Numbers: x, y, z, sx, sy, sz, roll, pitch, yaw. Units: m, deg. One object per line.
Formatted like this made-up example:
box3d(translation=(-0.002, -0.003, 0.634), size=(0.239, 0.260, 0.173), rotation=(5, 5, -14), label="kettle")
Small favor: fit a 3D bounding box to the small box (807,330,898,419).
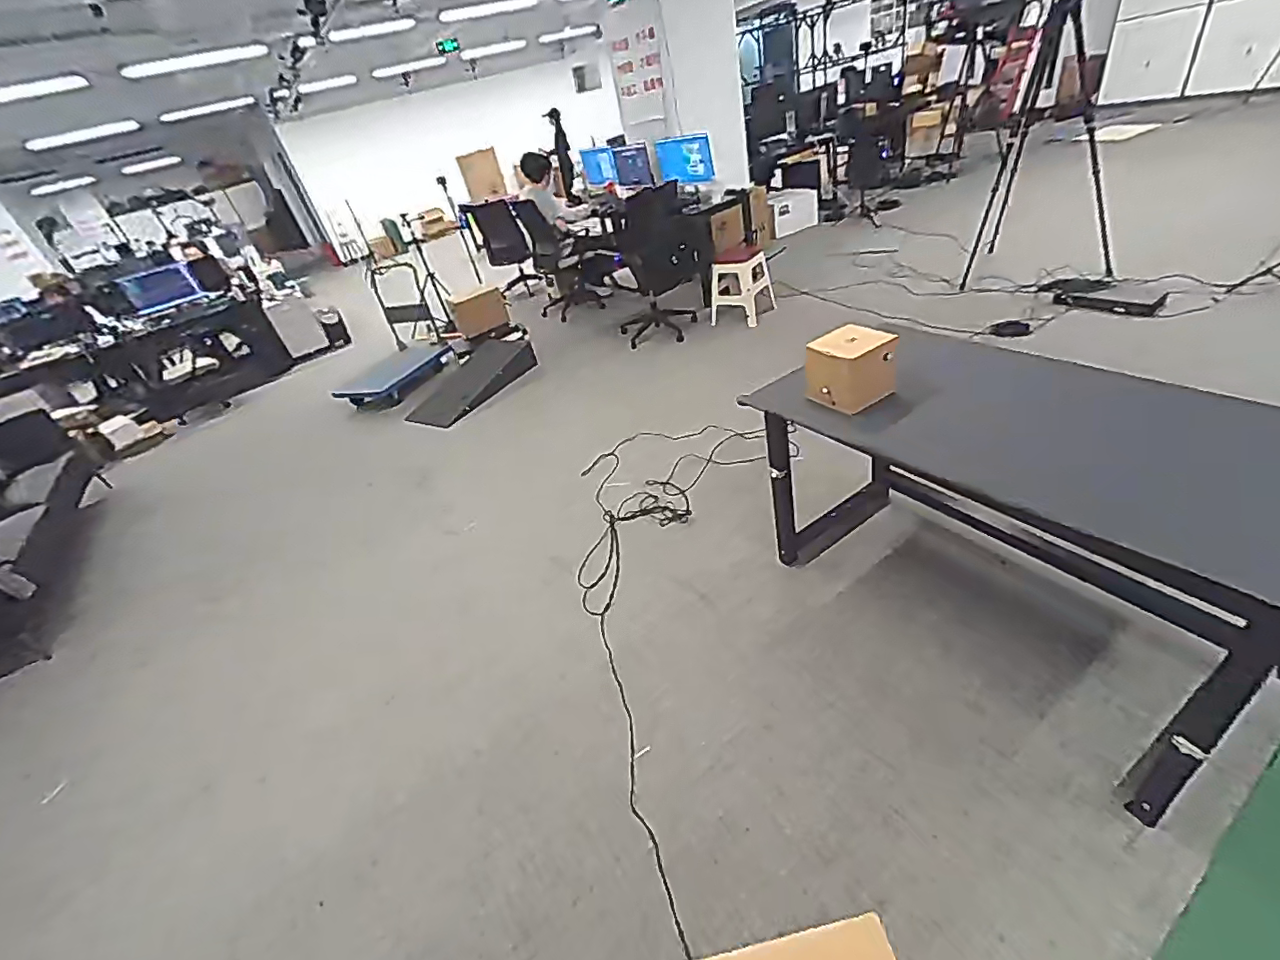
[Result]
box3d(translation=(0.585, -0.295, 1.509), size=(0.179, 0.176, 0.168), rotation=(-27, 36, -19), label="small box")
